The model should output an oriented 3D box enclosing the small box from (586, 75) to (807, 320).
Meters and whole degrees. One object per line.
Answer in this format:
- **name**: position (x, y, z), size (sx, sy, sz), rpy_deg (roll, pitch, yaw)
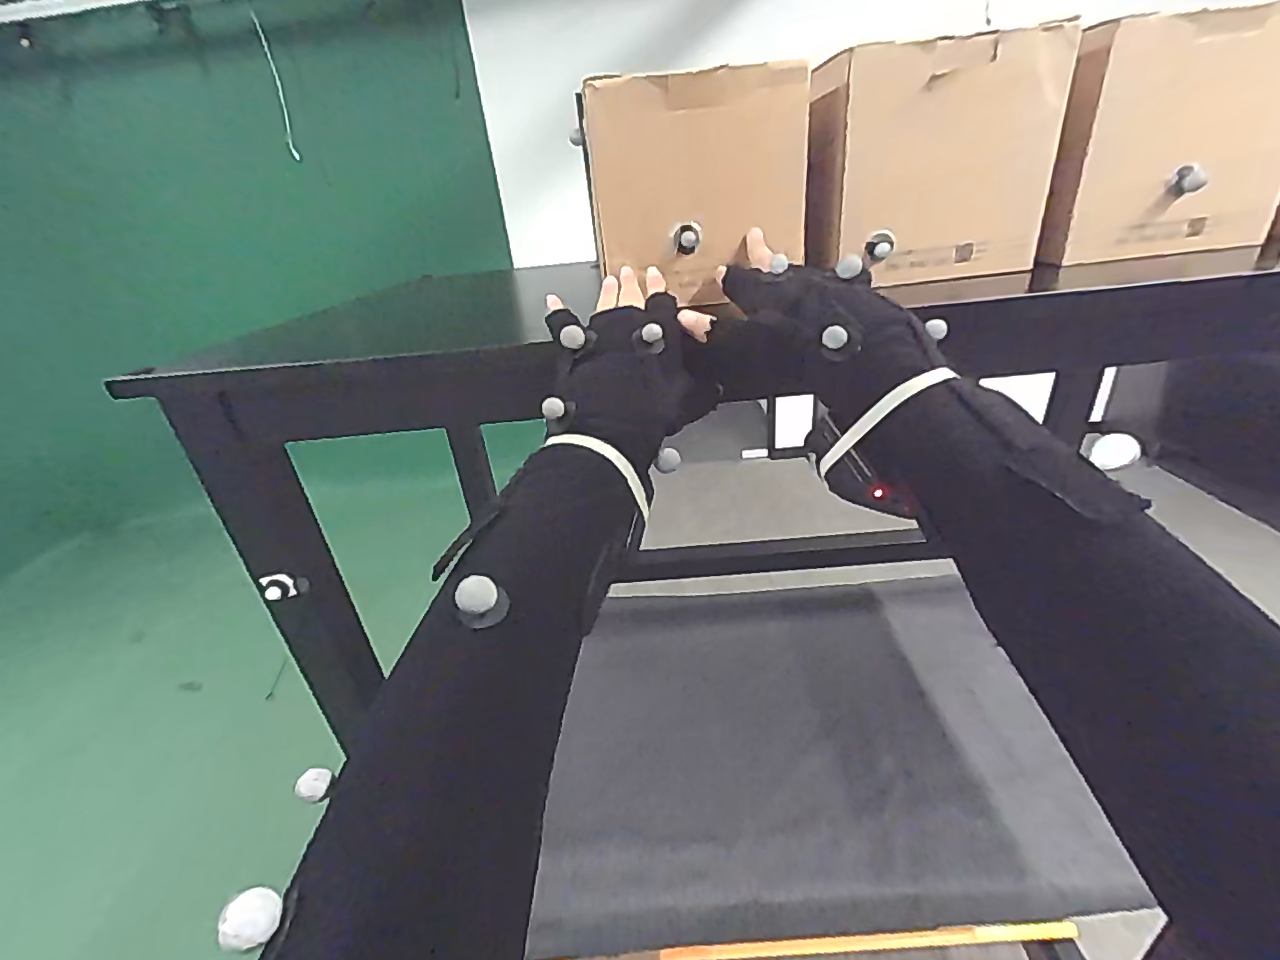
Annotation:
- **small box**: position (0.043, -0.251, 0.503), size (0.168, 0.176, 0.179), rpy_deg (-7, 28, -1)
